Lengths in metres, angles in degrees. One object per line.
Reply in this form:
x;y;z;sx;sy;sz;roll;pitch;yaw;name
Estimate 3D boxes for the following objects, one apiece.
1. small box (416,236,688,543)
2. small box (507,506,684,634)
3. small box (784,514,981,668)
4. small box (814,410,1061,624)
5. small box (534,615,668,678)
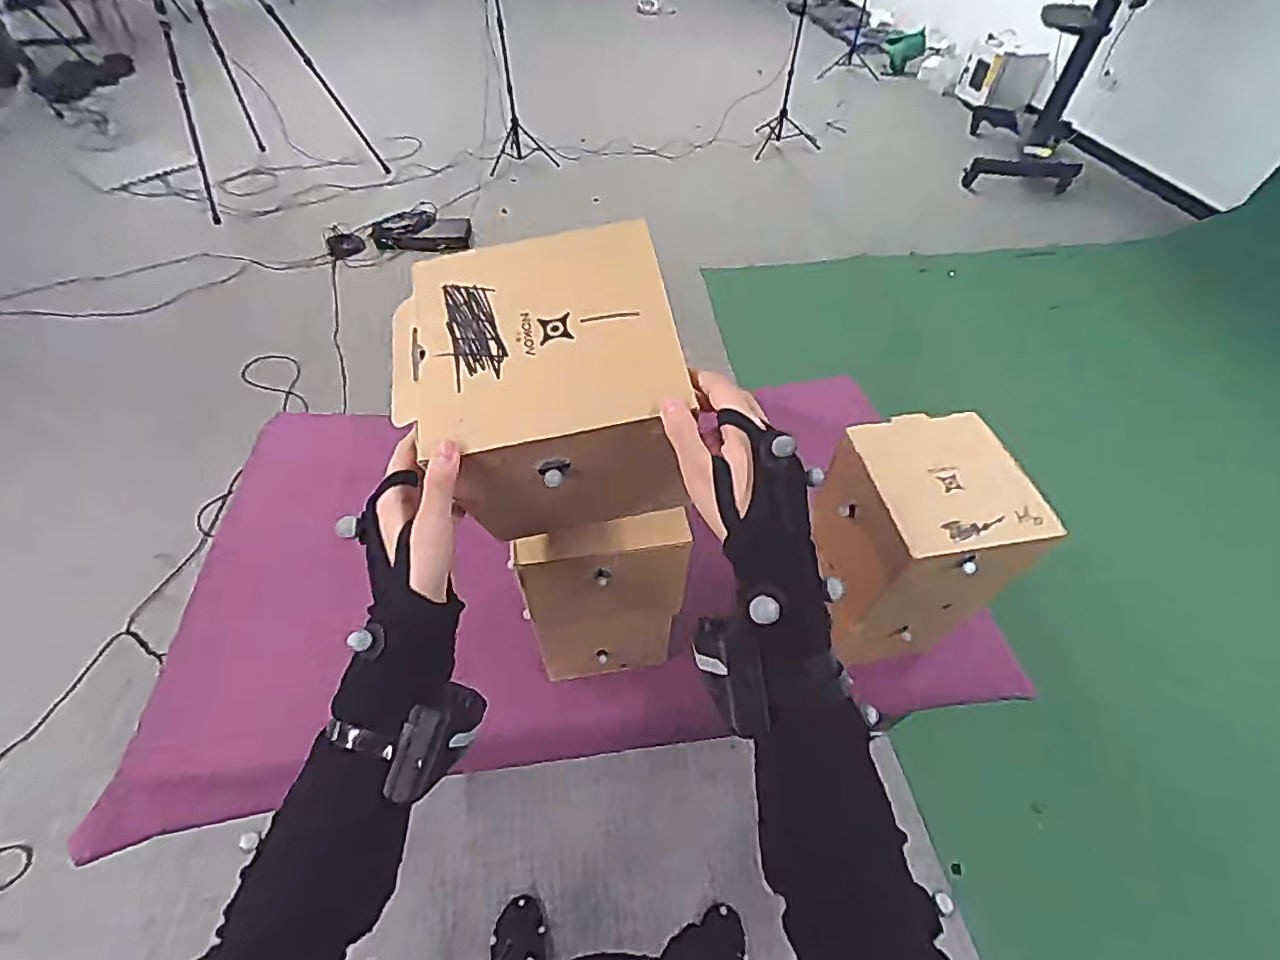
-0.061;-0.060;0.443;0.179;0.176;0.168;-12;66;-1;small box
-0.051;0.064;0.630;0.179;0.176;0.168;-7;52;-5;small box
0.325;0.149;0.767;0.179;0.176;0.168;-9;53;-5;small box
0.324;0.045;0.639;0.168;0.176;0.179;-9;52;-4;small box
-0.055;0.163;0.760;0.168;0.176;0.179;-7;51;-5;small box
